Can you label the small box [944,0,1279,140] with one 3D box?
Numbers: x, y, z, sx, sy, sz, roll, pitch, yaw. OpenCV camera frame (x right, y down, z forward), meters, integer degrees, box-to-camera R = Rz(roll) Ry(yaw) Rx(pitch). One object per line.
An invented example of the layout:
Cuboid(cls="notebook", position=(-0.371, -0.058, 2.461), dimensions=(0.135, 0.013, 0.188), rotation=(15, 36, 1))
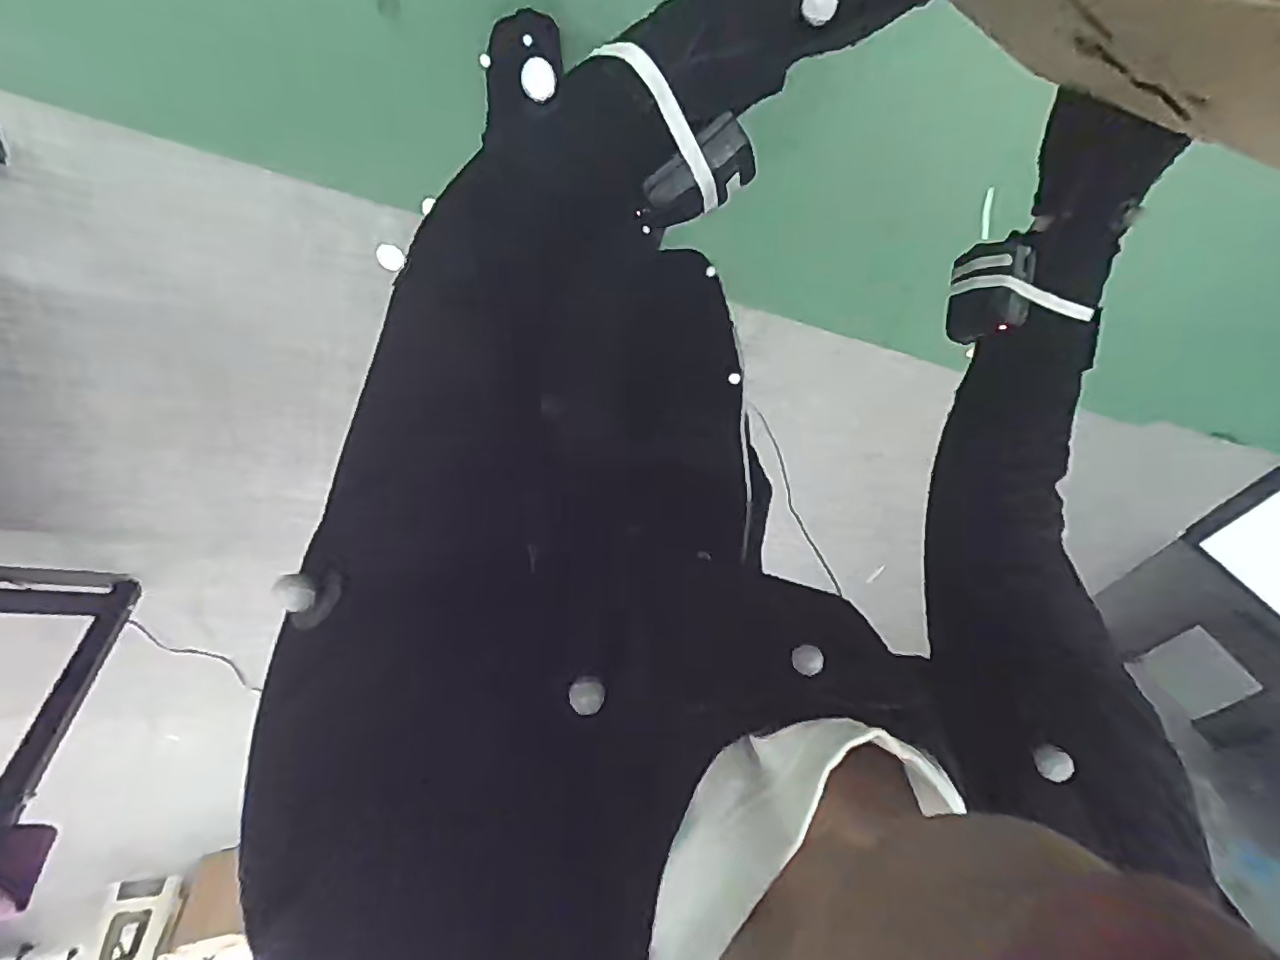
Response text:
Cuboid(cls="small box", position=(0.266, -0.321, 0.271), dimensions=(0.168, 0.176, 0.179), rotation=(13, 133, -24))
